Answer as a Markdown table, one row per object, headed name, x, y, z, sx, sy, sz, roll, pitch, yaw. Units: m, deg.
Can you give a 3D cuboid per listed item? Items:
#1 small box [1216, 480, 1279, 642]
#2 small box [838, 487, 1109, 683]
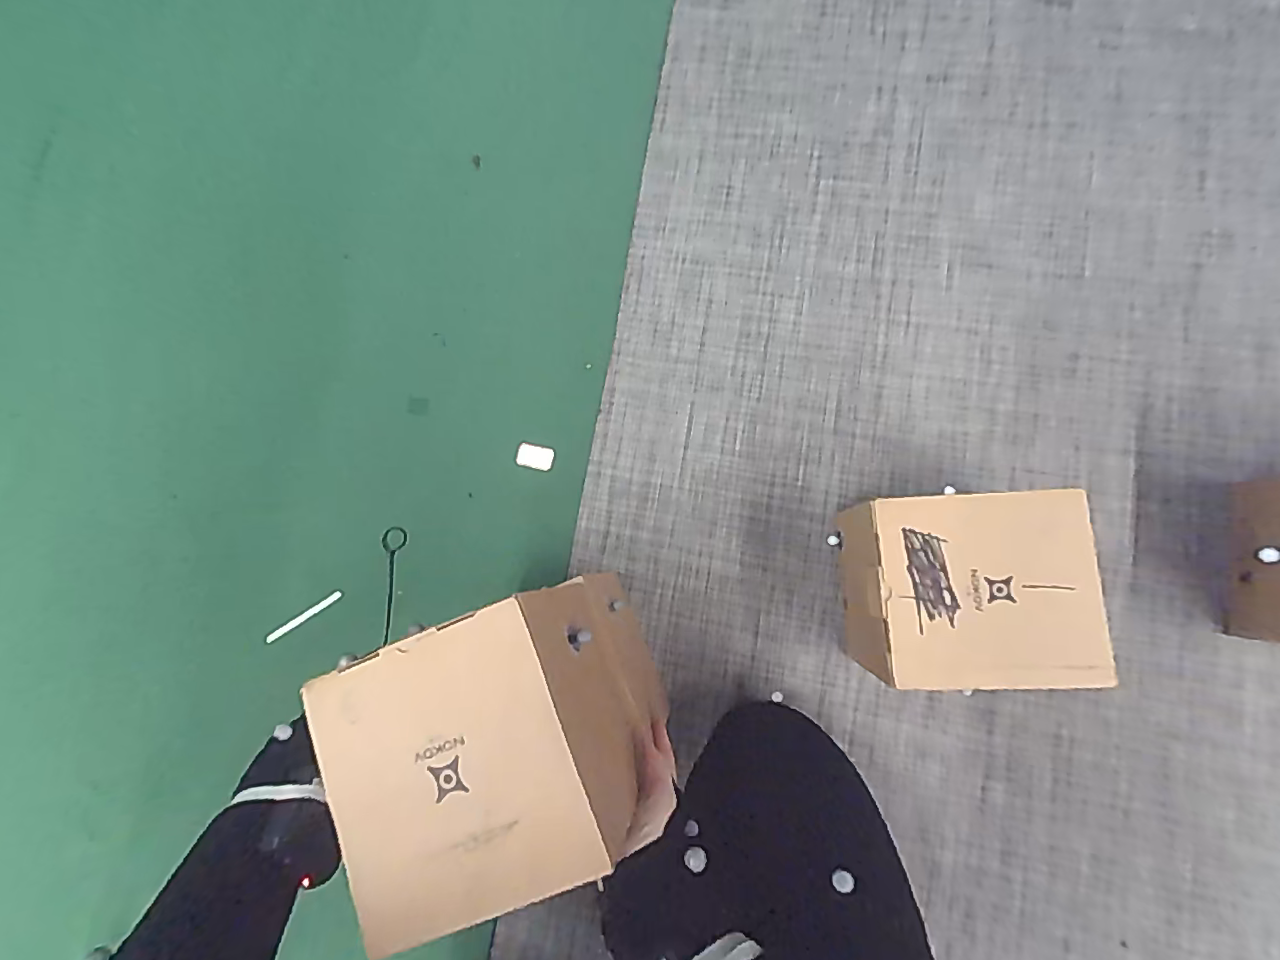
| name | x | y | z | sx | sy | sz | roll | pitch | yaw |
| --- | --- | --- | --- | --- | --- | --- | --- | --- | --- |
| small box | 0.700 | 0.083 | 0.490 | 0.179 | 0.176 | 0.168 | 9 | 82 | 9 |
| small box | 0.306 | 0.103 | 0.544 | 0.179 | 0.176 | 0.168 | -4 | 81 | 7 |
